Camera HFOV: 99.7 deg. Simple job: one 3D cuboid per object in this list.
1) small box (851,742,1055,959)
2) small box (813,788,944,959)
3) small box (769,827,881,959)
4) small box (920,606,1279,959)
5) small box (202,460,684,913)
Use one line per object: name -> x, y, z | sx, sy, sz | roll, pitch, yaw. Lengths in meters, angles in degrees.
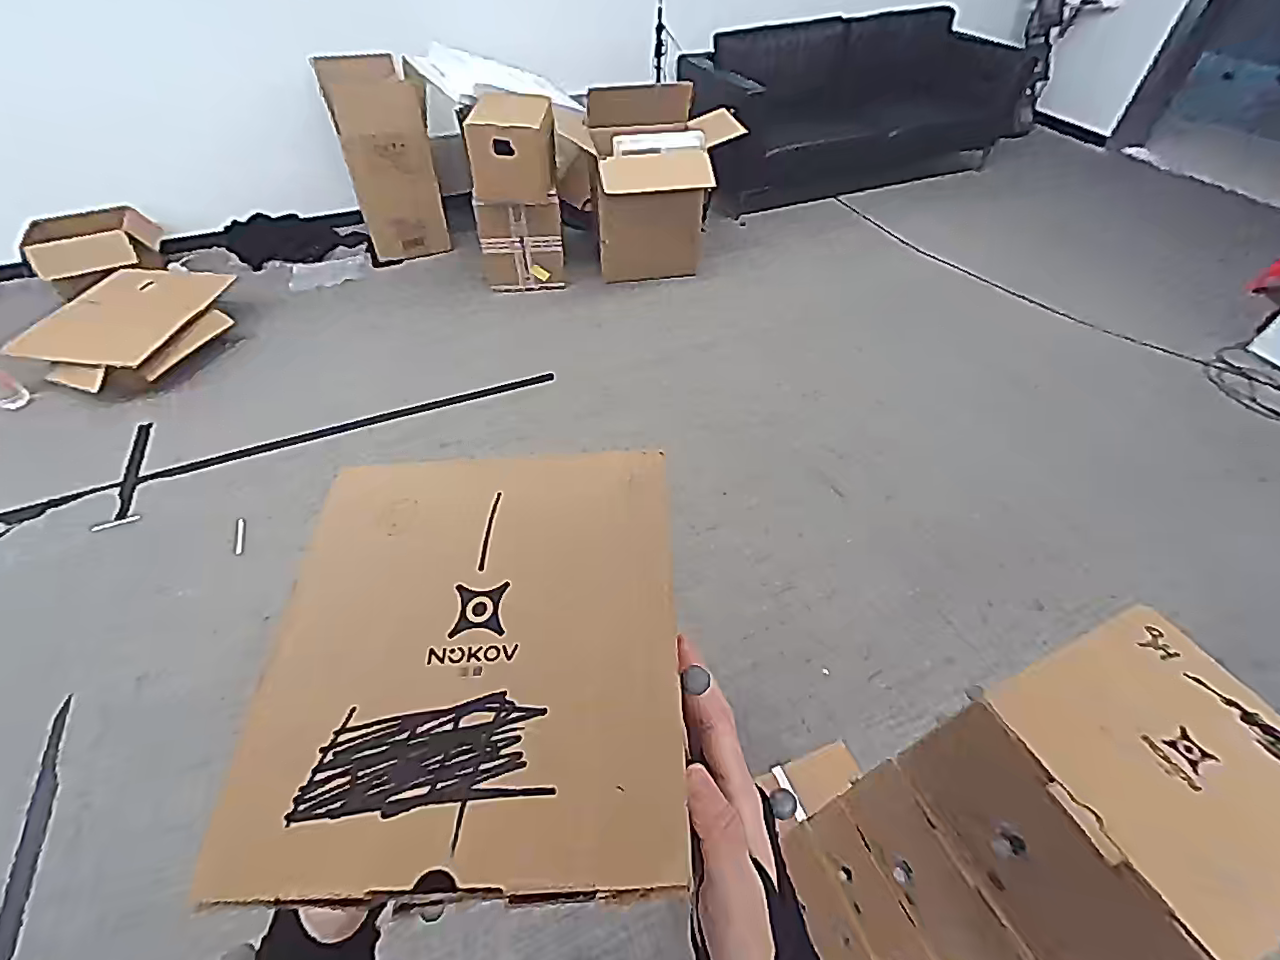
small box -> 0.345, 0.343, 0.537 | 0.179, 0.176, 0.168 | -20, 51, -15
small box -> 0.342, 0.453, 0.660 | 0.179, 0.176, 0.168 | -18, 52, -14
small box -> 0.335, 0.677, 0.897 | 0.168, 0.176, 0.179 | -19, 52, -15
small box -> 0.349, 0.234, 0.414 | 0.179, 0.176, 0.168 | -20, 52, -15
small box -> -0.064, 0.111, 0.290 | 0.168, 0.176, 0.179 | -3, 55, 2
